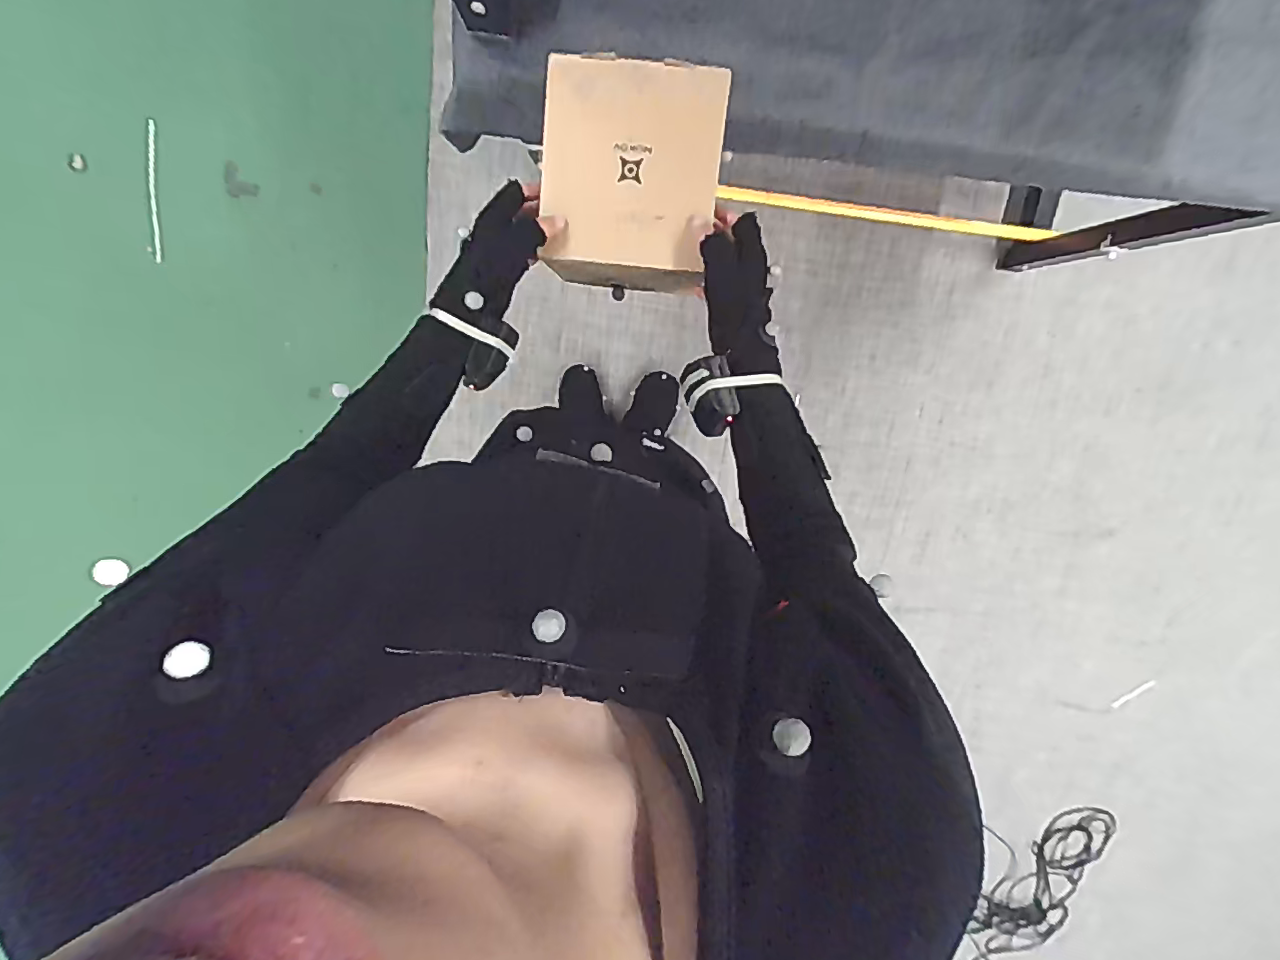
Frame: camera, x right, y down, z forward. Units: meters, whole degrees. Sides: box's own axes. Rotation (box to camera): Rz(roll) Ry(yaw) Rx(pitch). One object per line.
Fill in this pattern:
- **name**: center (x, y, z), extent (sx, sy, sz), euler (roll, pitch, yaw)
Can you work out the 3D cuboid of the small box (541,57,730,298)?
- **small box**: center (-0.004, -0.305, 0.581), extent (0.168, 0.176, 0.179), euler (5, 101, 2)
